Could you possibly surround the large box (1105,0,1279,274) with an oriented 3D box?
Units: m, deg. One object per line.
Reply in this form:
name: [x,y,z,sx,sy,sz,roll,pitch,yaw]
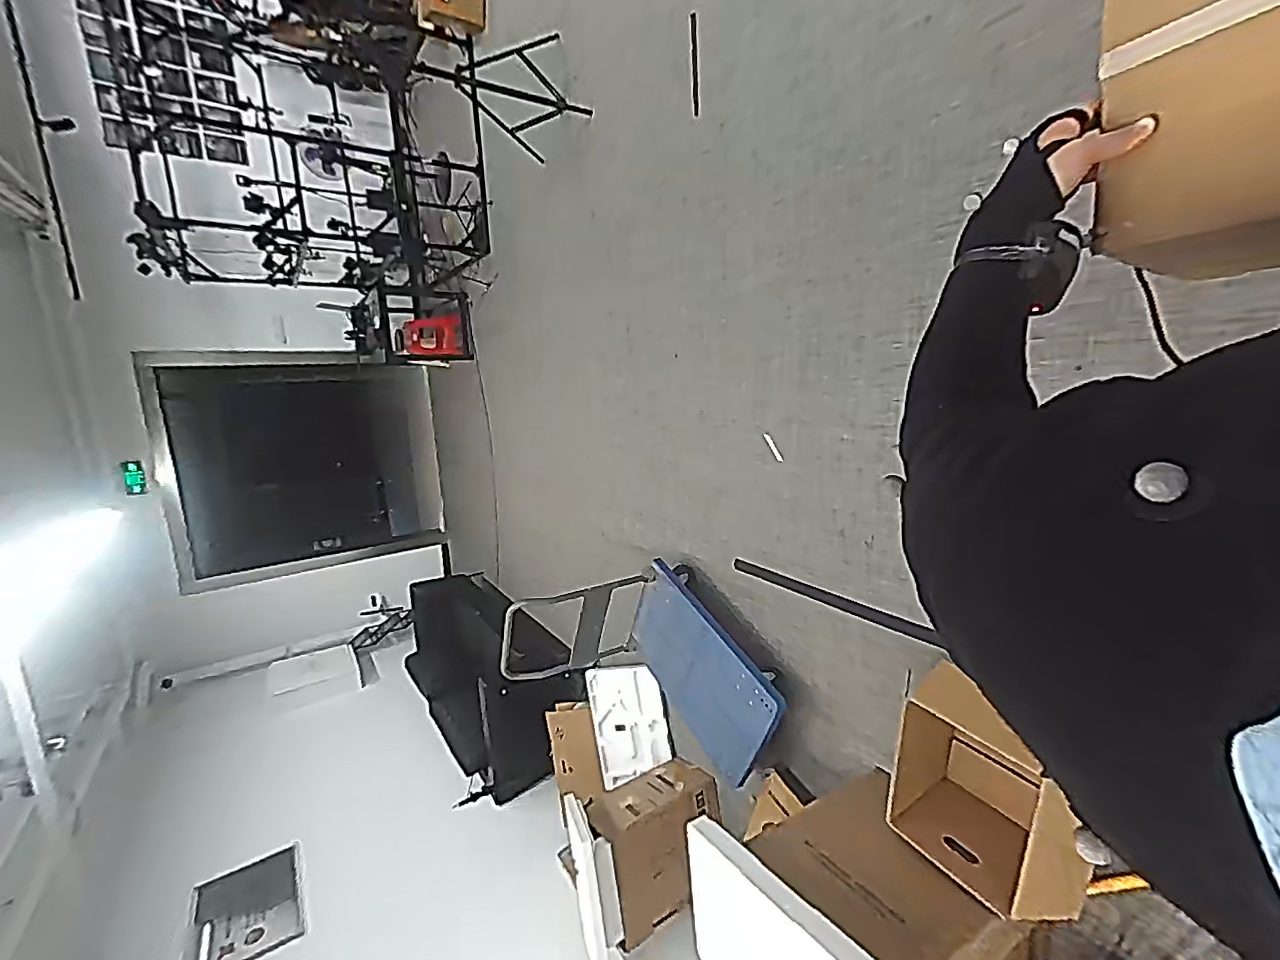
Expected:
large box: [0.650,-0.364,0.389,0.408,0.320,0.320,8,103,57]
